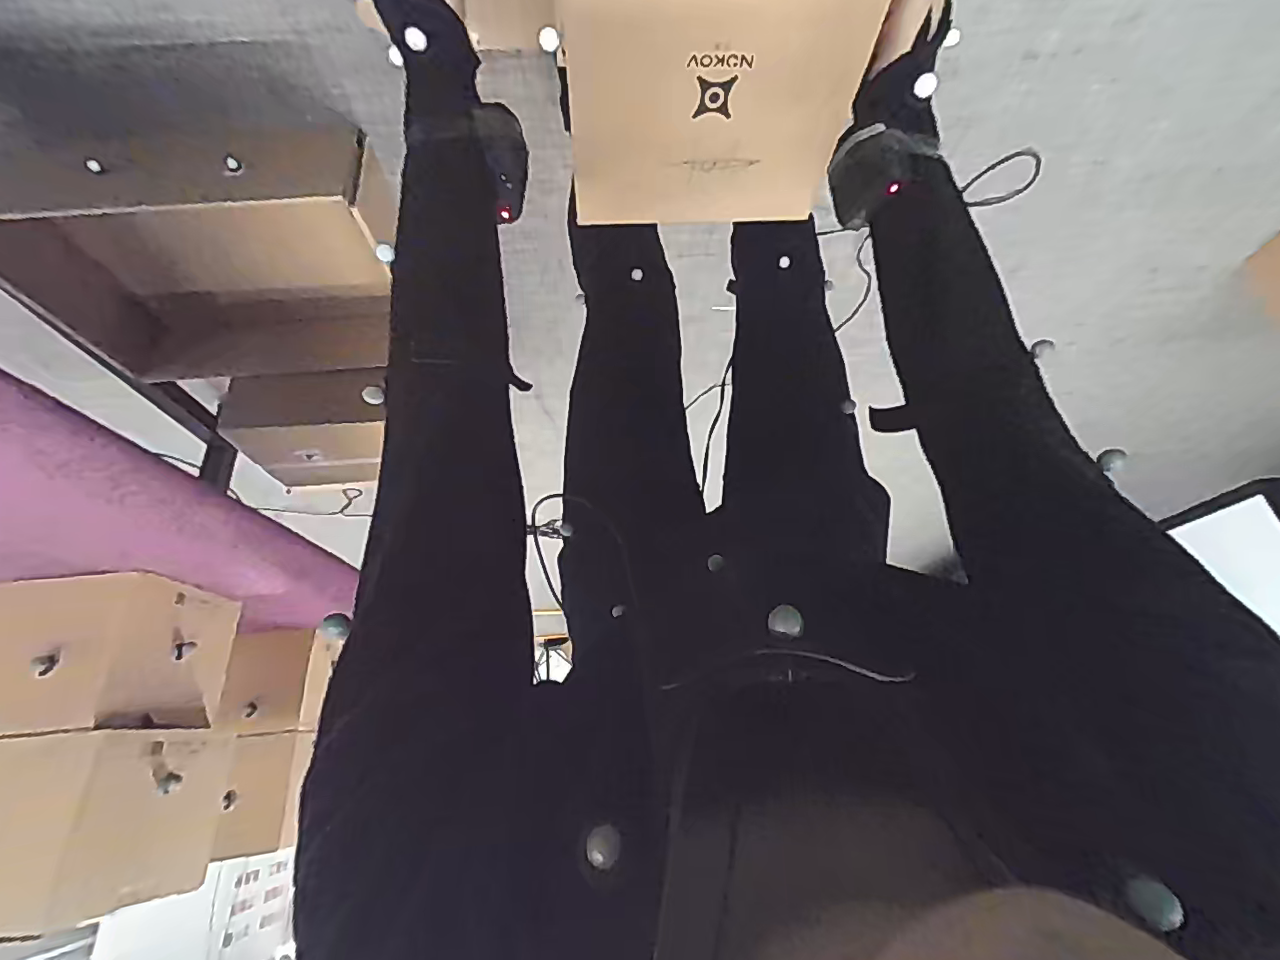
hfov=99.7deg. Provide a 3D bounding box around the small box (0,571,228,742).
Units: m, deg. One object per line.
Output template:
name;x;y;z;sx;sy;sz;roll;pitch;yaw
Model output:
small box;-0.630;0.211;0.636;0.179;0.176;0.168;-5;154;0

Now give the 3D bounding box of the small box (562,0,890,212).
small box;0.036;-0.296;0.329;0.168;0.176;0.179;-3;156;-4

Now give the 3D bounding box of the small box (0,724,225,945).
small box;-0.593;0.360;0.571;0.179;0.176;0.168;-8;155;5

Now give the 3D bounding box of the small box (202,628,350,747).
small box;-0.643;0.368;0.955;0.179;0.176;0.168;-4;153;-6
